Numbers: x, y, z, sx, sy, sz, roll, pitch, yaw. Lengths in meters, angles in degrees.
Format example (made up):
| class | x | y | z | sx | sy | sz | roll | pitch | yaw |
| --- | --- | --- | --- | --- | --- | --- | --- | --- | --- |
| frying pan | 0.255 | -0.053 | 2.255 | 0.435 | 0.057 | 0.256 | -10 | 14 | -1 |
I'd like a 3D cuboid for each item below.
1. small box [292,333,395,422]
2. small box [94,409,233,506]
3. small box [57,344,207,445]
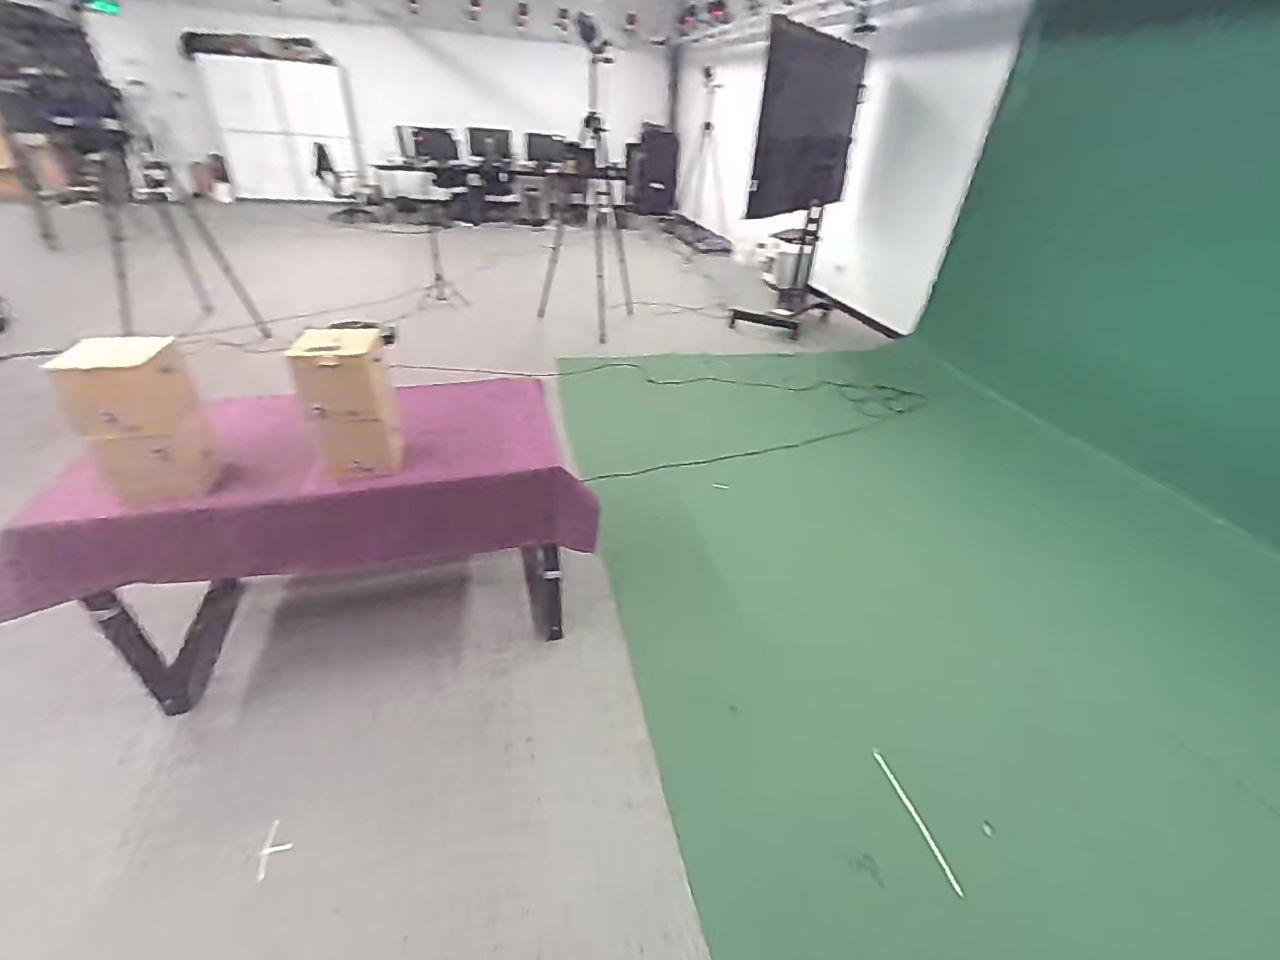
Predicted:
| class | x | y | z | sx | sy | sz | roll | pitch | yaw |
| --- | --- | --- | --- | --- | --- | --- | --- | --- | --- |
| small box | -0.713 | -0.249 | 1.326 | 0.168 | 0.176 | 0.179 | -4 | 34 | -11 |
| small box | -1.124 | -0.055 | 1.298 | 0.179 | 0.176 | 0.168 | -6 | 34 | -13 |
| small box | -1.120 | -0.195 | 1.215 | 0.168 | 0.176 | 0.179 | -5 | 35 | -13 |
